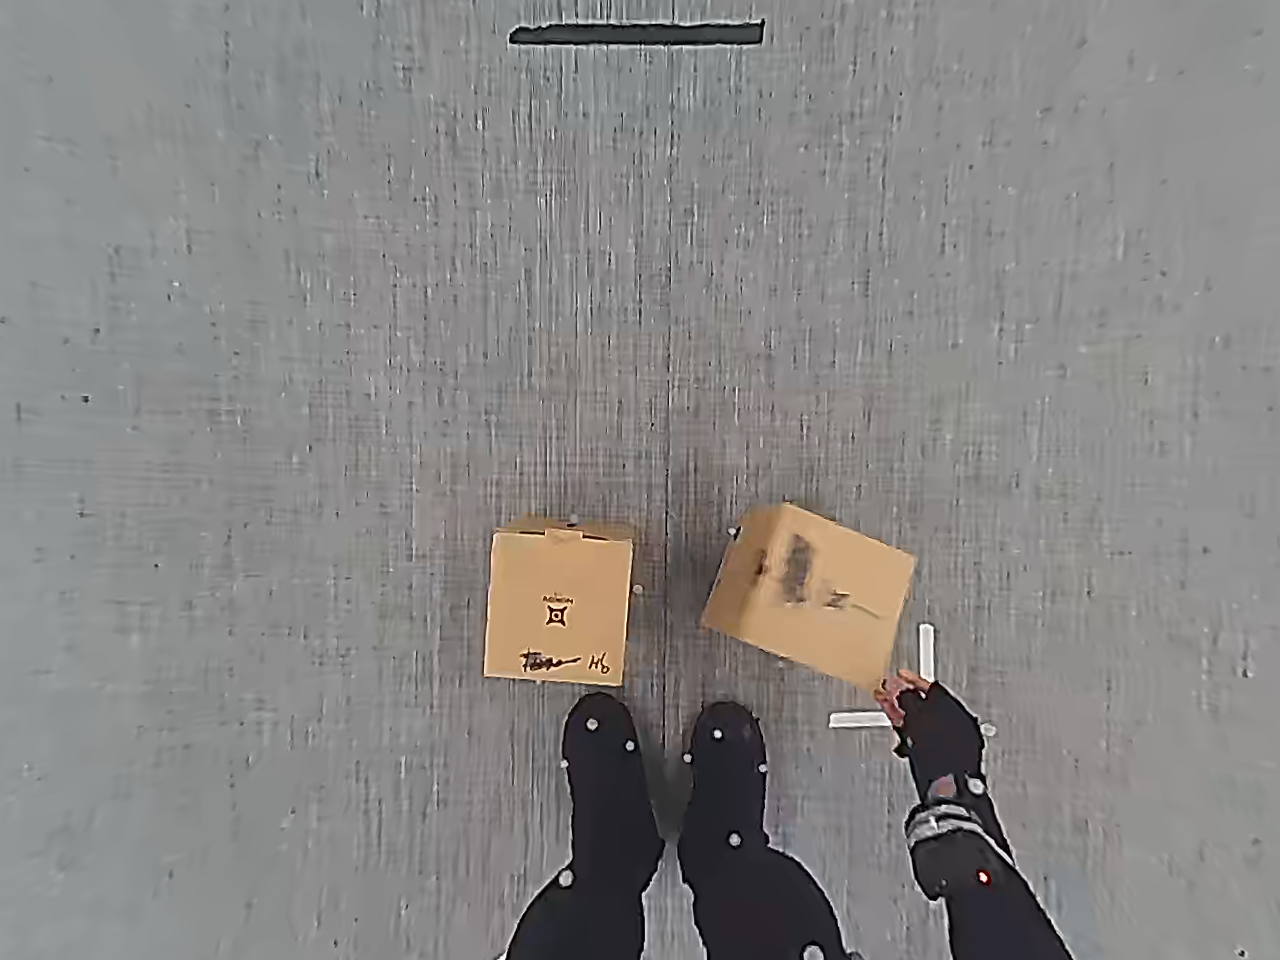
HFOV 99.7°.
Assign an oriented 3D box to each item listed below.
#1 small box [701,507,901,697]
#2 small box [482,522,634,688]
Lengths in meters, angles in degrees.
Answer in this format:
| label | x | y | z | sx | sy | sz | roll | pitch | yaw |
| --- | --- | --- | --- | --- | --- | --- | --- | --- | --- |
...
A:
| label | x | y | z | sx | sy | sz | roll | pitch | yaw |
| --- | --- | --- | --- | --- | --- | --- | --- | --- | --- |
| small box | 0.191 | 0.150 | 0.698 | 0.179 | 0.176 | 0.168 | 23 | 82 | 2 |
| small box | -0.098 | 0.152 | 0.714 | 0.168 | 0.176 | 0.179 | 5 | 90 | 0 |
